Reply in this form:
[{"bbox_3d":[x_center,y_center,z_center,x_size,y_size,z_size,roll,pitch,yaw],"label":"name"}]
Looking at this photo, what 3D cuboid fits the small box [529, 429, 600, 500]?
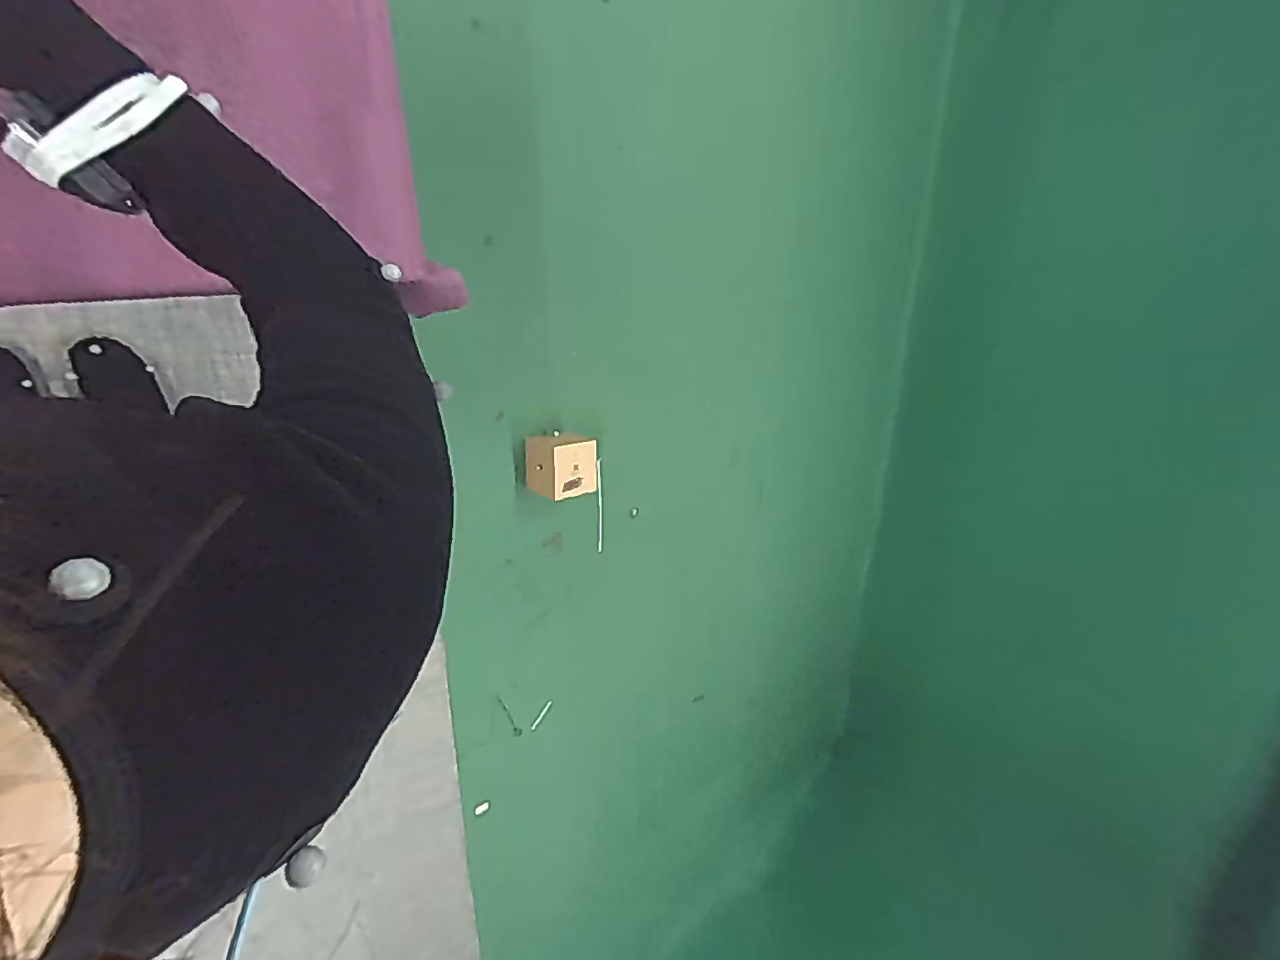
[{"bbox_3d":[-0.248,-0.056,1.755,0.168,0.176,0.179,-14,116,-40],"label":"small box"}]
